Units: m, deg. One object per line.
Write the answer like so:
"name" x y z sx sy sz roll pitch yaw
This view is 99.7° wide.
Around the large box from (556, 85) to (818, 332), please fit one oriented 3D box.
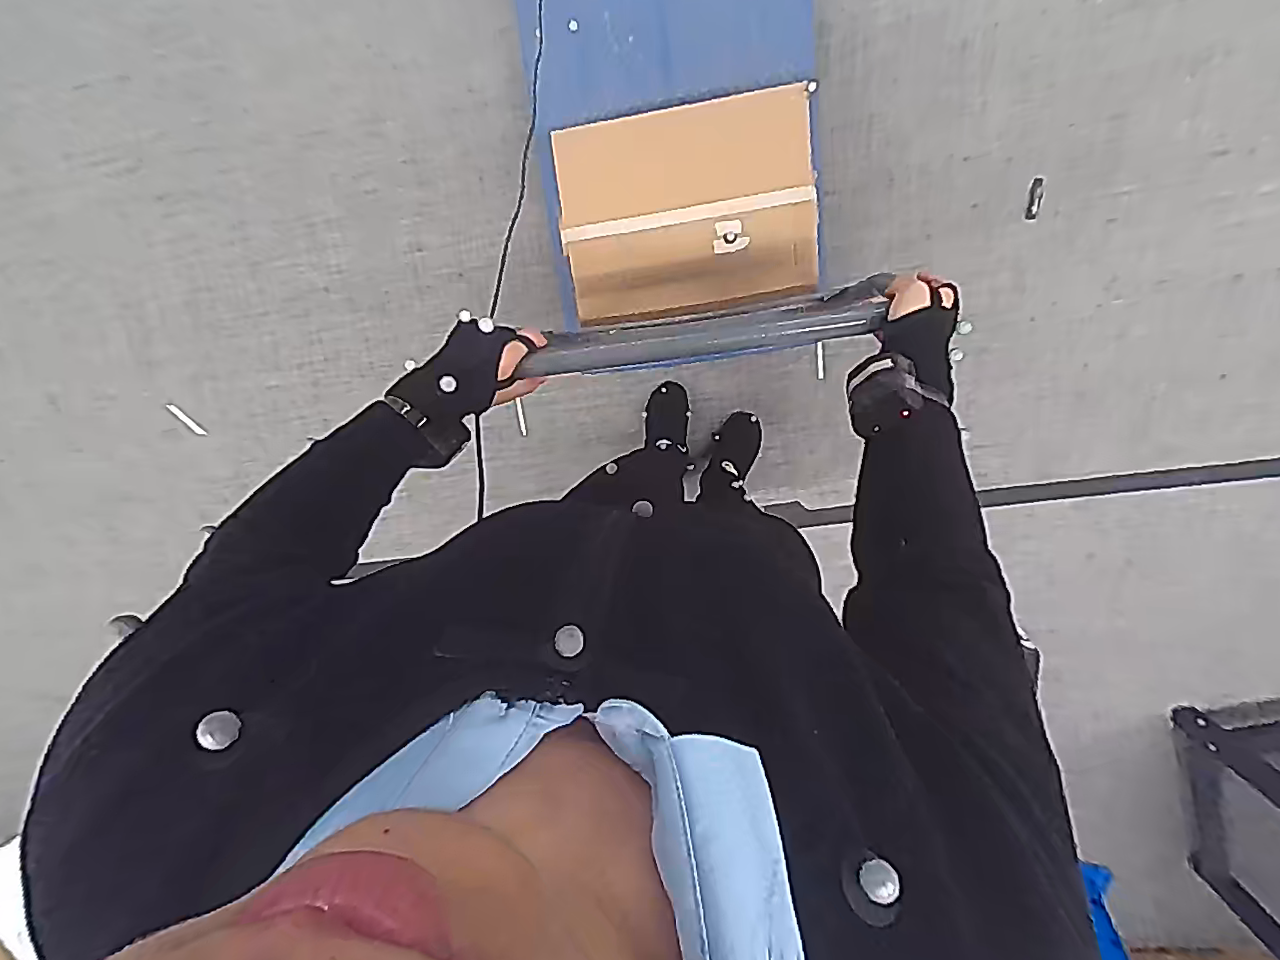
"large box" 0.091 -0.470 1.028 0.408 0.320 0.320 -6 104 7
